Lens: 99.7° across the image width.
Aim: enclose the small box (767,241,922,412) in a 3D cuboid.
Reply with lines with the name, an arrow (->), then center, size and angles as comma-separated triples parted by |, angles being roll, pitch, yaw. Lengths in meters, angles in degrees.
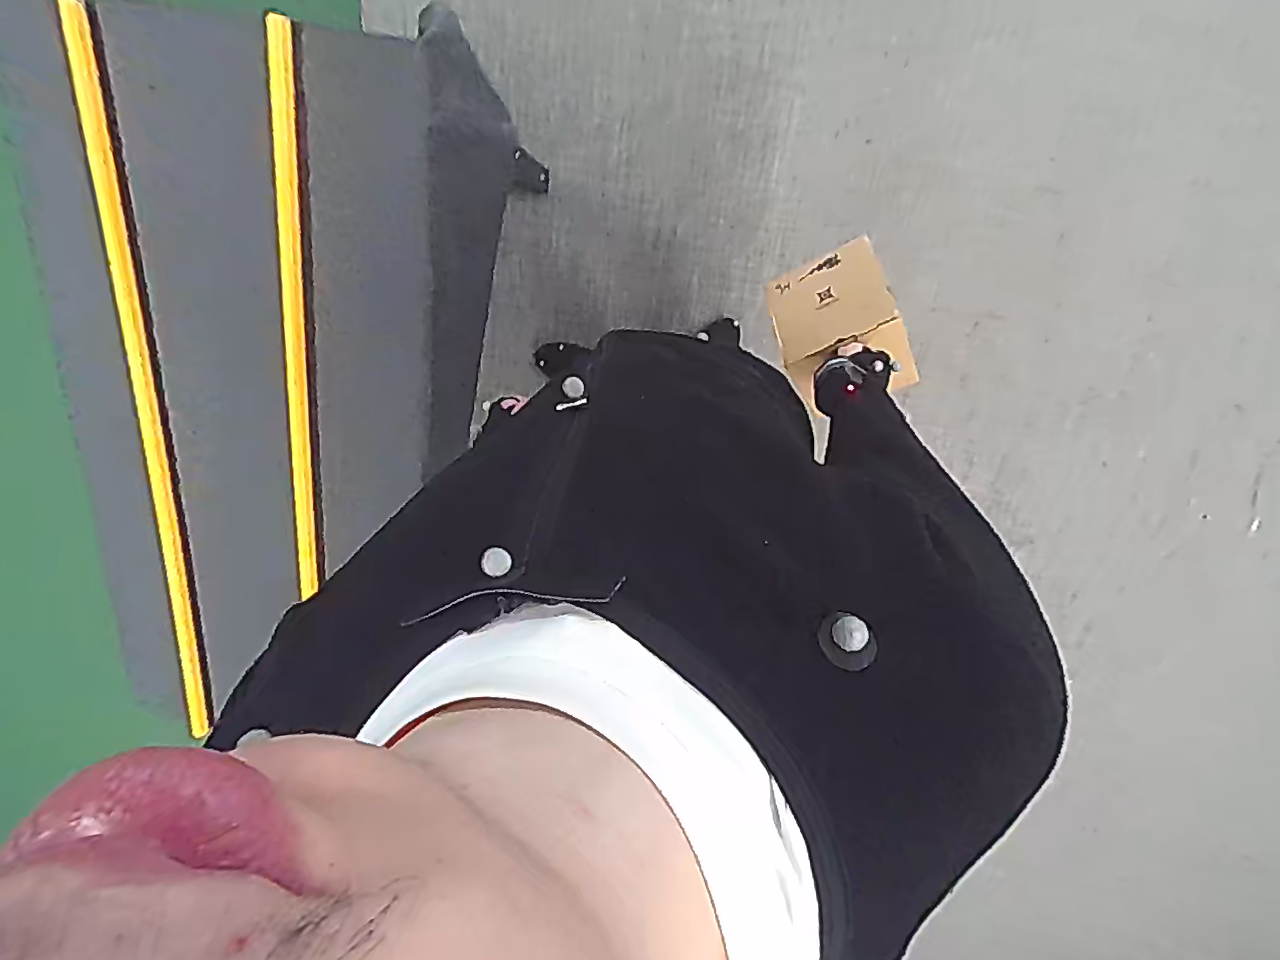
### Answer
small box -> 0.328, -0.230, 0.866 | 0.168, 0.179, 0.176 | -24, 146, 26
